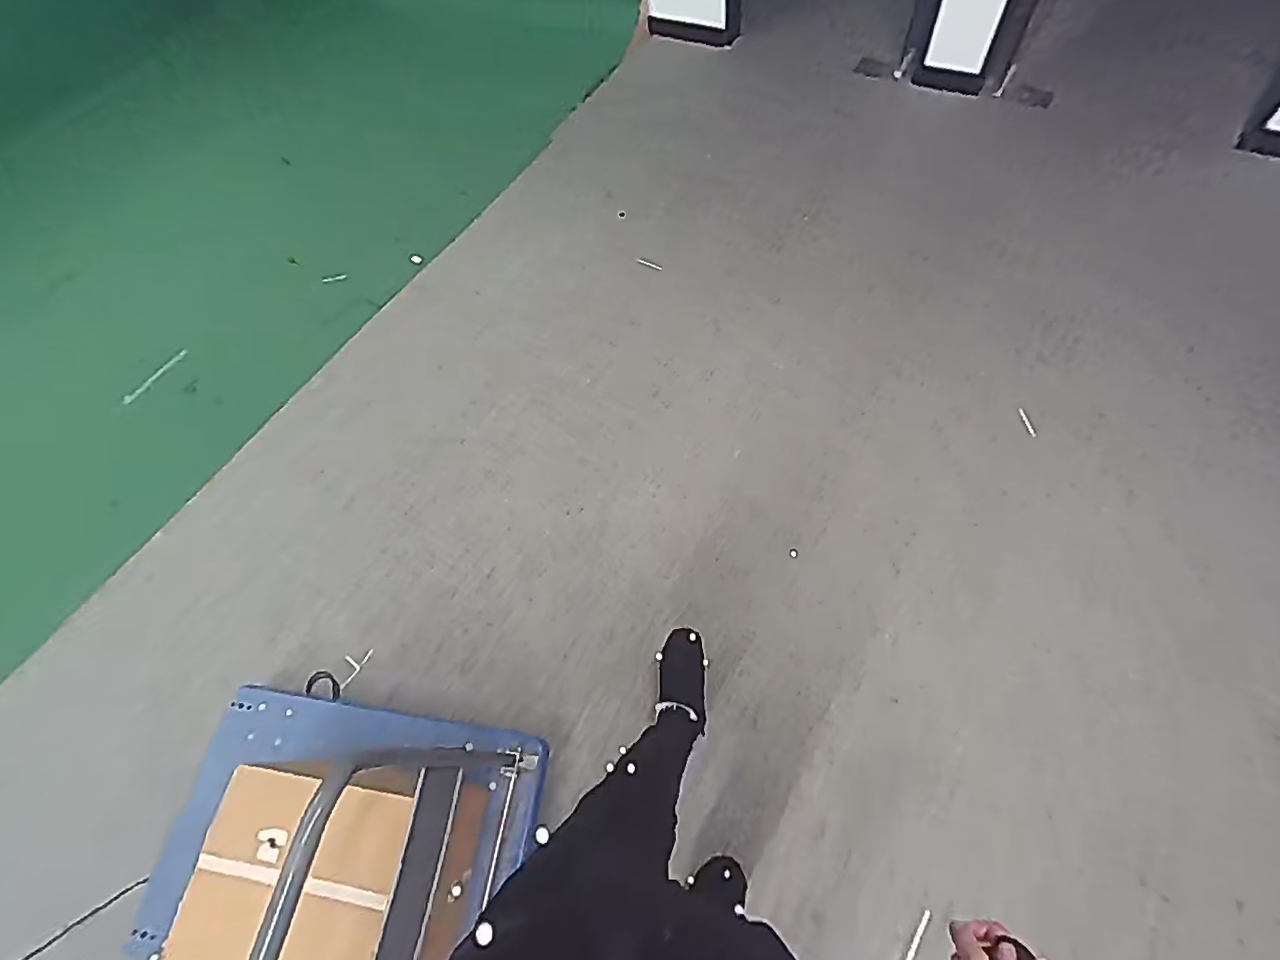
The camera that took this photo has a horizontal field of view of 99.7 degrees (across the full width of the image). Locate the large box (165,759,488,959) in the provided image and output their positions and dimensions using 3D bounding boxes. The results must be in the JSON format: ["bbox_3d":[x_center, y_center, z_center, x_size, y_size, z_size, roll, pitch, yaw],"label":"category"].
[{"bbox_3d":[-0.576,0.761,1.078,0.408,0.320,0.320,4,65,12],"label":"large box"}]
